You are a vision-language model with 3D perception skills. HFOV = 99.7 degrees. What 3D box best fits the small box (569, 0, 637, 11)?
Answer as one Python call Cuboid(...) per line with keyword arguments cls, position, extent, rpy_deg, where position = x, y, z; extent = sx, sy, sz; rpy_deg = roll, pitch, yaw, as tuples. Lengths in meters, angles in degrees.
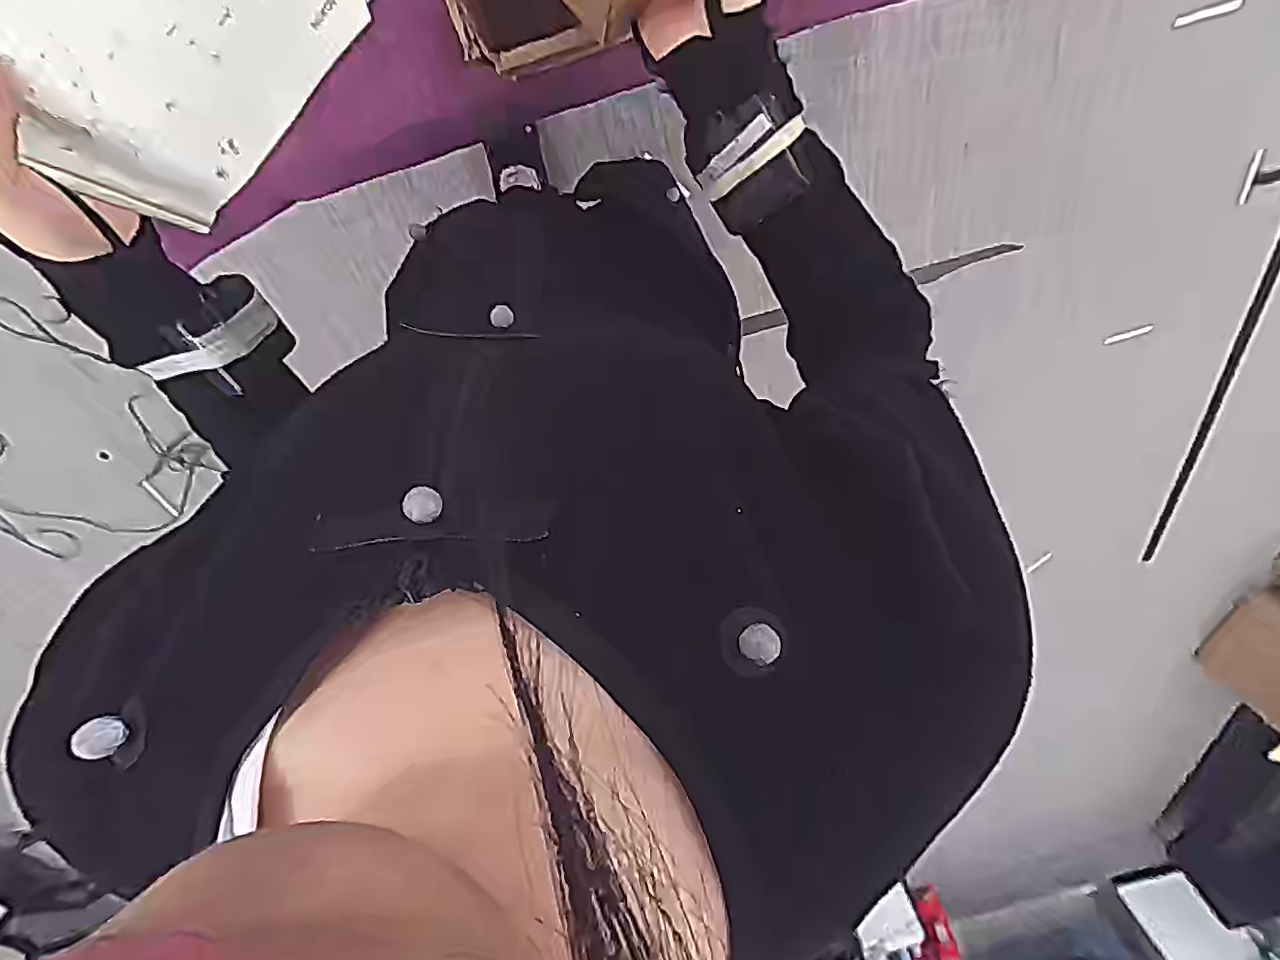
Cuboid(cls="small box", position=(-0.017, -0.376, 0.248), extent=(0.179, 0.176, 0.168), rpy_deg=(41, 96, -17))
